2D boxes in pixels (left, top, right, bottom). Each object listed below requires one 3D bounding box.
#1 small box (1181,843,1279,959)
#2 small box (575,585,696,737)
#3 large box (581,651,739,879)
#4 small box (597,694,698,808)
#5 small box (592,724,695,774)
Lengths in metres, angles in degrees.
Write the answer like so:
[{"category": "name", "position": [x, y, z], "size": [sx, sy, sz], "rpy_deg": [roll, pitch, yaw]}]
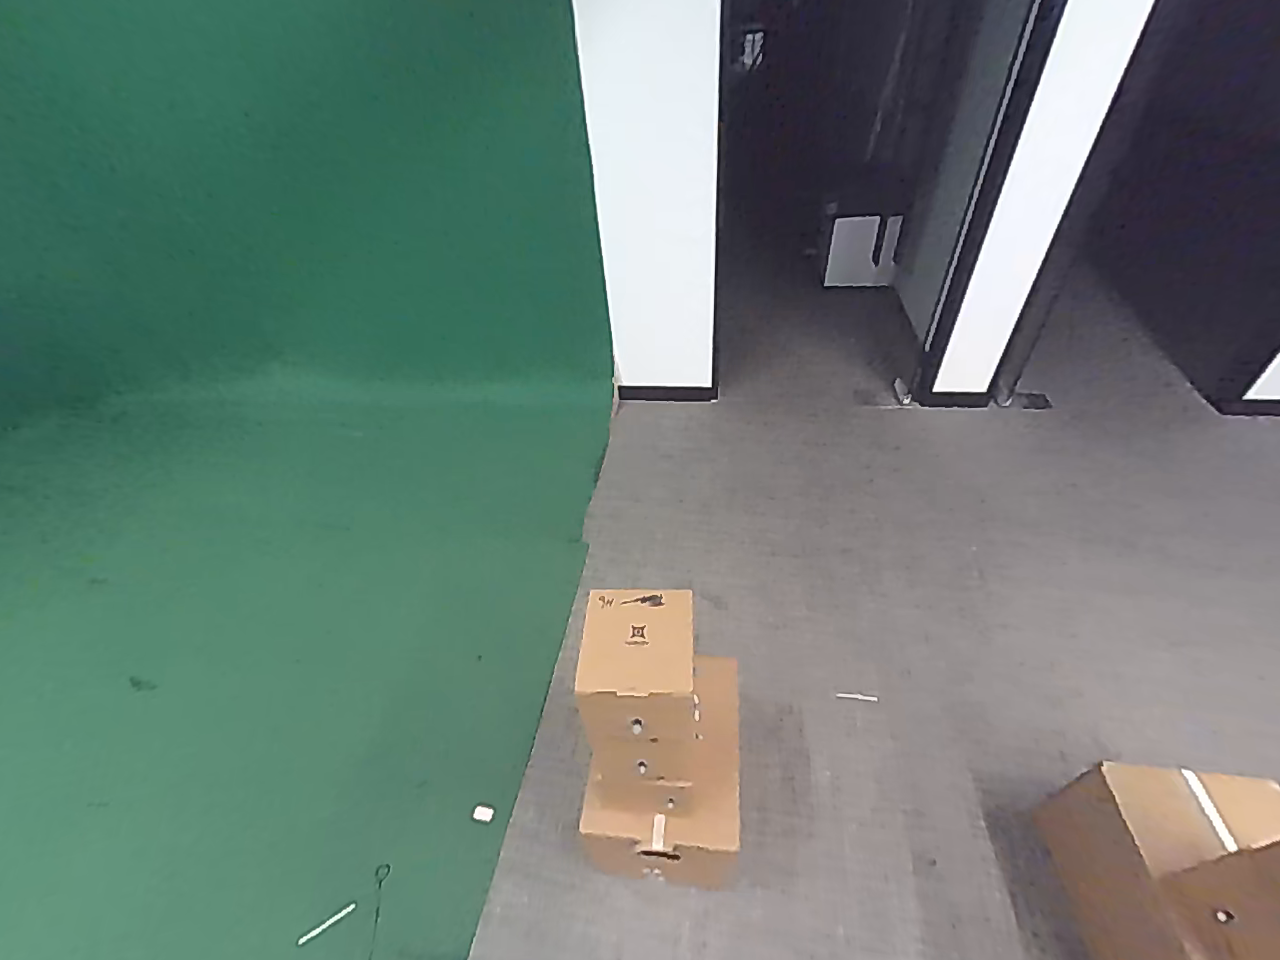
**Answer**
[{"category": "small box", "position": [1.007, 0.676, 0.821], "size": [0.179, 0.176, 0.168], "rpy_deg": [0, 44, 8]}, {"category": "small box", "position": [0.003, 0.286, 0.850], "size": [0.168, 0.176, 0.179], "rpy_deg": [0, 43, 6]}, {"category": "large box", "position": [0.066, 0.661, 1.283], "size": [0.320, 0.320, 0.408], "rpy_deg": [2, 43, 8]}, {"category": "small box", "position": [0.024, 0.530, 1.070], "size": [0.179, 0.176, 0.168], "rpy_deg": [1, 43, 8]}, {"category": "small box", "position": [0.014, 0.406, 0.963], "size": [0.168, 0.176, 0.179], "rpy_deg": [-1, 42, 4]}]
